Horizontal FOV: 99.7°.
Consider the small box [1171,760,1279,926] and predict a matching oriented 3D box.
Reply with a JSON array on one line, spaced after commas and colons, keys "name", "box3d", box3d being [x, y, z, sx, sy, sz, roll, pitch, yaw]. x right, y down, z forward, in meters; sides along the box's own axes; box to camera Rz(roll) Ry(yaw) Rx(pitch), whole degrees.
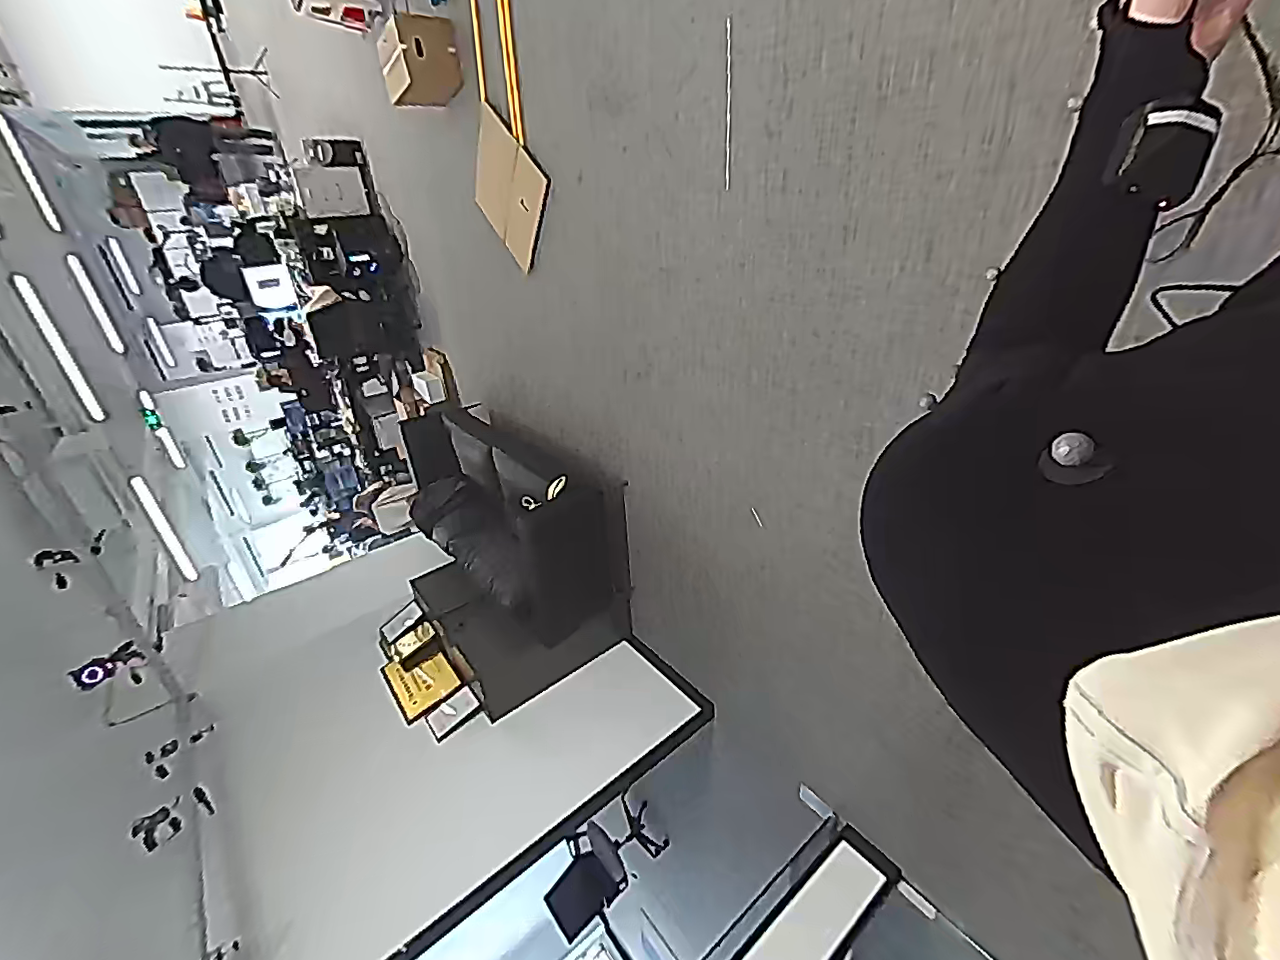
[{"name": "small box", "box3d": [1.164, 0.675, 1.011, 0.179, 0.176, 0.168, 32, 135, 41]}]
